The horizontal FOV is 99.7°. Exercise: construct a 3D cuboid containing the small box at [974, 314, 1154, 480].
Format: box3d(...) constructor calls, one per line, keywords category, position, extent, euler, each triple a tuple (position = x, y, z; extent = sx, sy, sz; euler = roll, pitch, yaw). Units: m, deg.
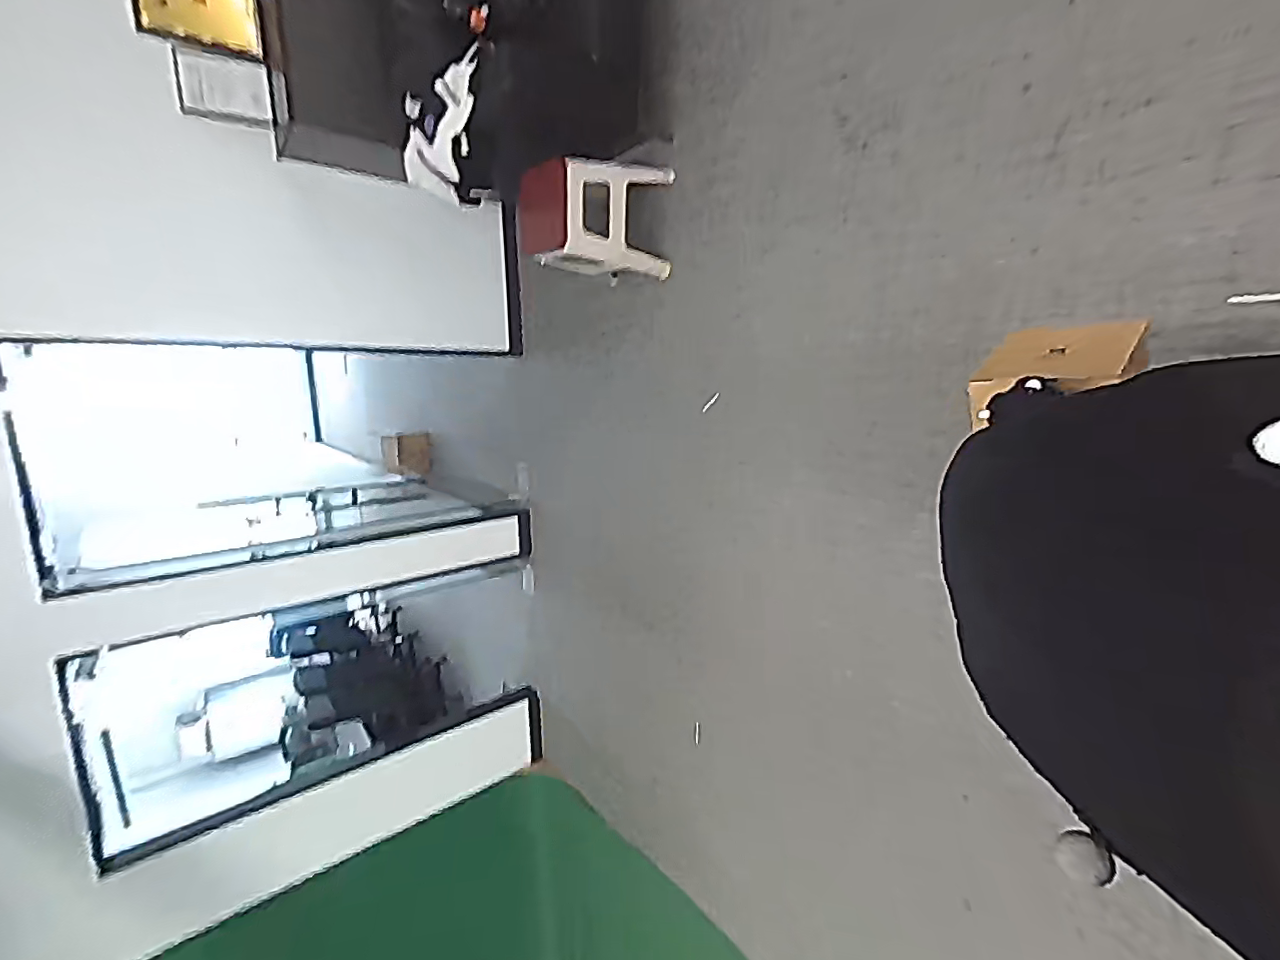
box3d(category="small box", position=(0.611, -0.122, 0.785), extent=(0.168, 0.179, 0.176), euler=(11, 132, 49))
